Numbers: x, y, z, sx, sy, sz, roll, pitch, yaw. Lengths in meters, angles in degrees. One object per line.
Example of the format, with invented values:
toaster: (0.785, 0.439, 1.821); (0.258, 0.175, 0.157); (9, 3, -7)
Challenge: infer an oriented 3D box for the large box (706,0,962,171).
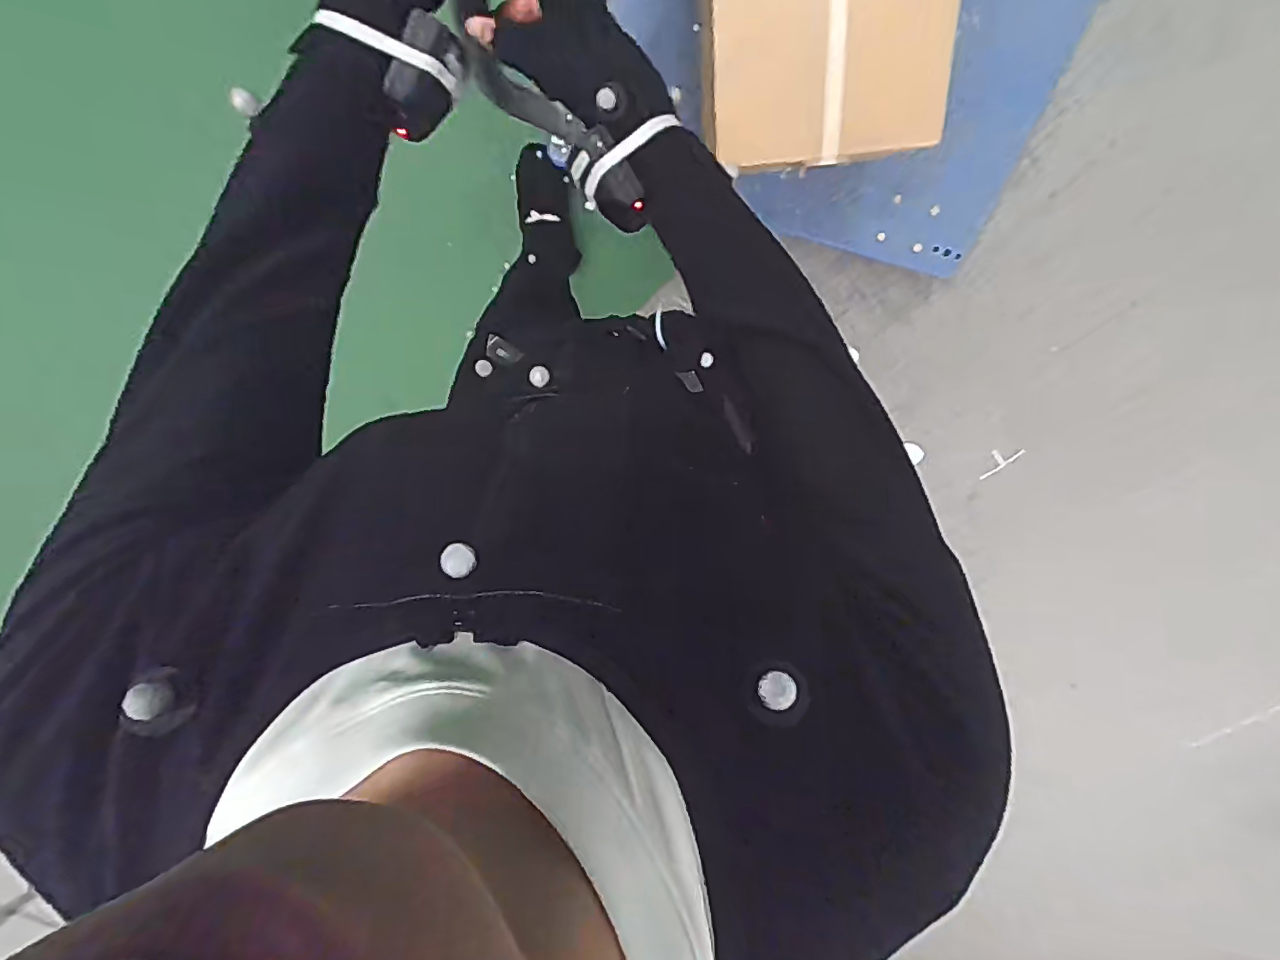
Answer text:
large box: (0.260, -0.711, 0.807); (0.320, 0.320, 0.408); (-3, 117, 4)
